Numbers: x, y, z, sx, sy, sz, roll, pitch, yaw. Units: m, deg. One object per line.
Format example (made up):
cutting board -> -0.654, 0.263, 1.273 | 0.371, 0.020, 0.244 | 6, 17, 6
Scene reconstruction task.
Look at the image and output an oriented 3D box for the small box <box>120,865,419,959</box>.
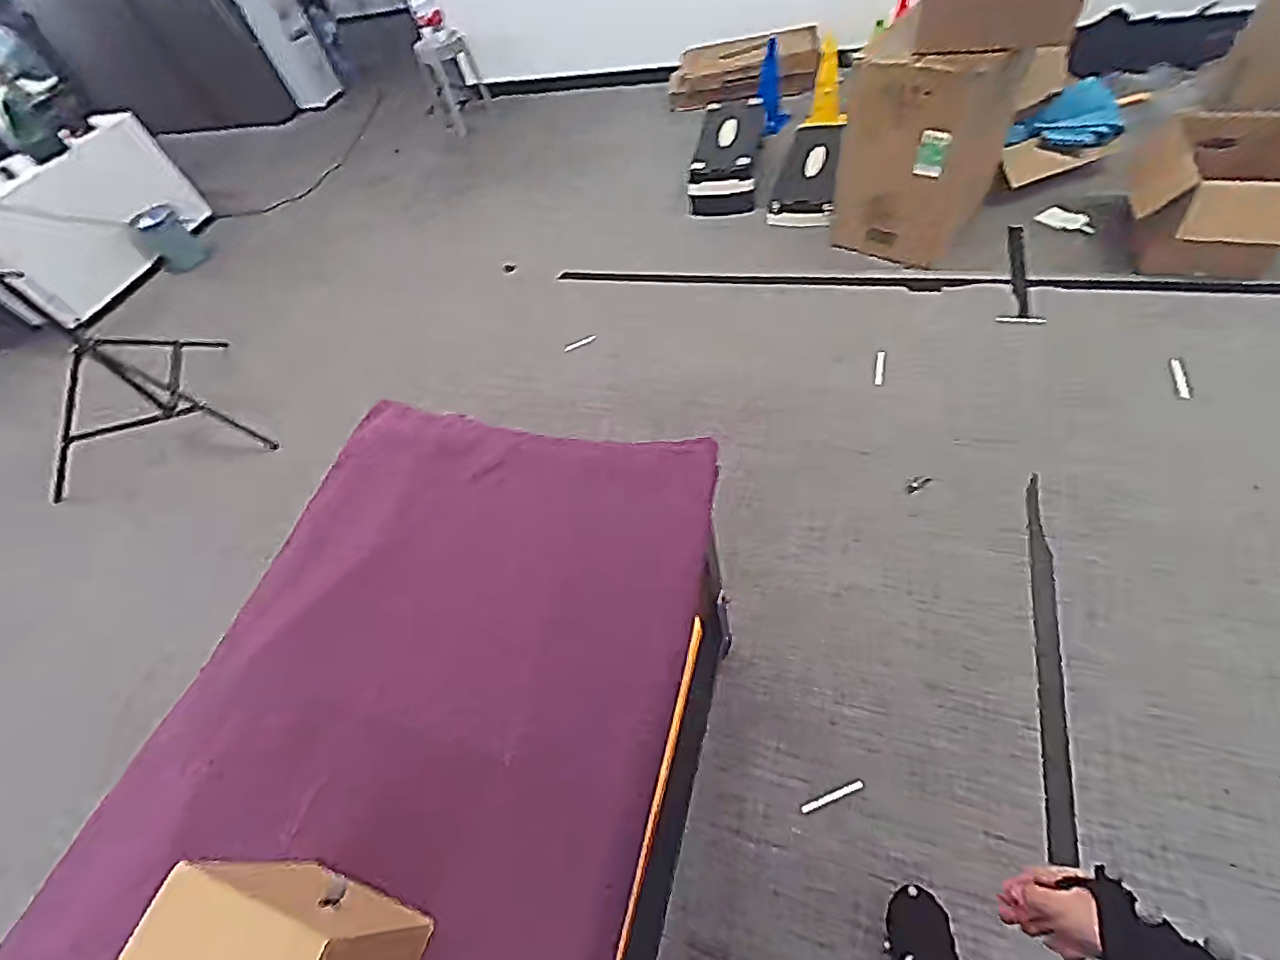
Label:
small box -> -0.315, 0.445, 0.445 | 0.168, 0.176, 0.179 | 8, 58, 18
